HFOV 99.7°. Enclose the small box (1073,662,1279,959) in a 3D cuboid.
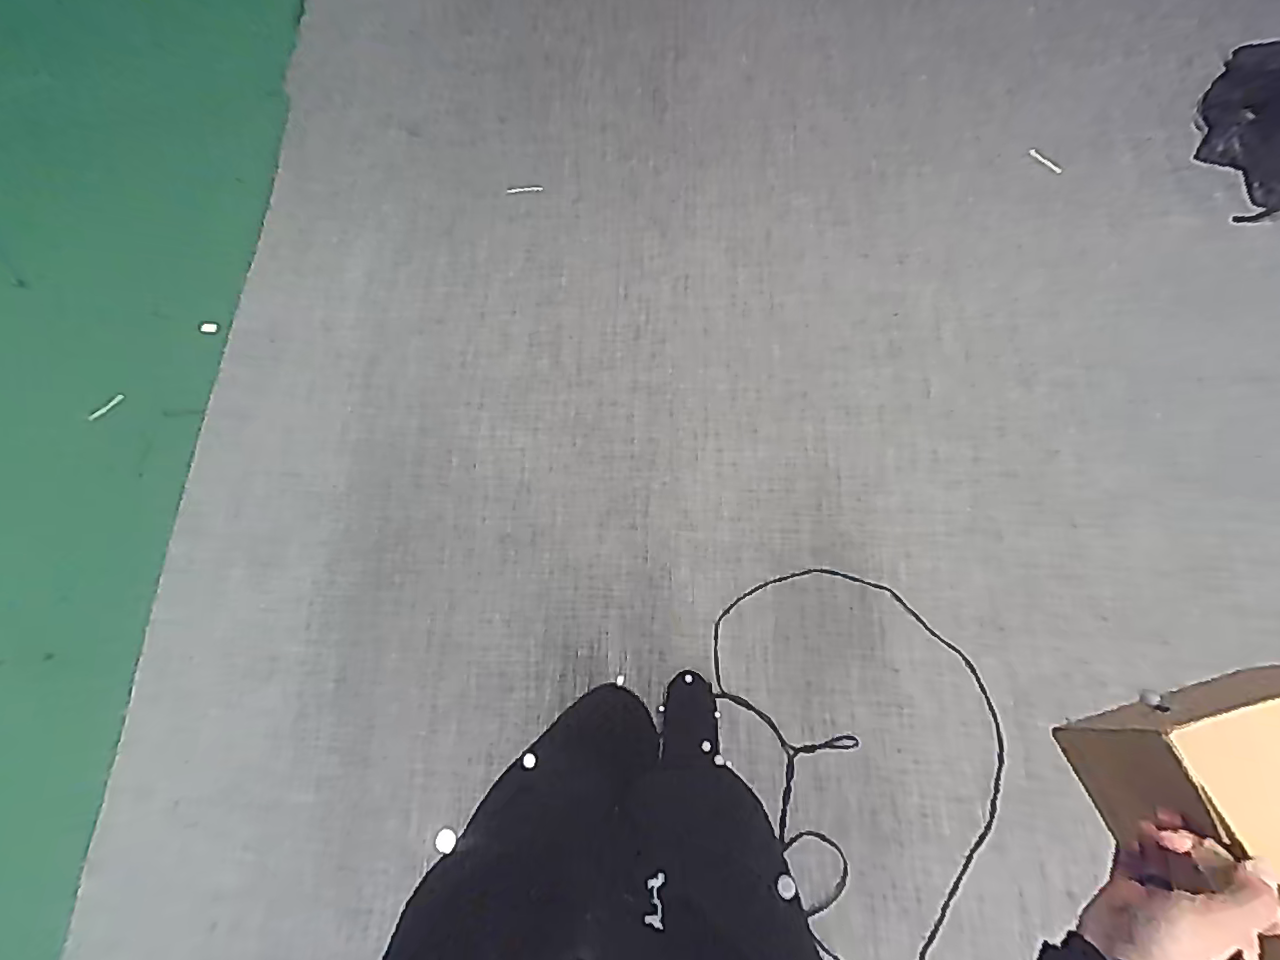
[{"bbox_3d":[0.446,0.227,0.366,0.179,0.176,0.168,-21,63,4],"label":"small box"}]
